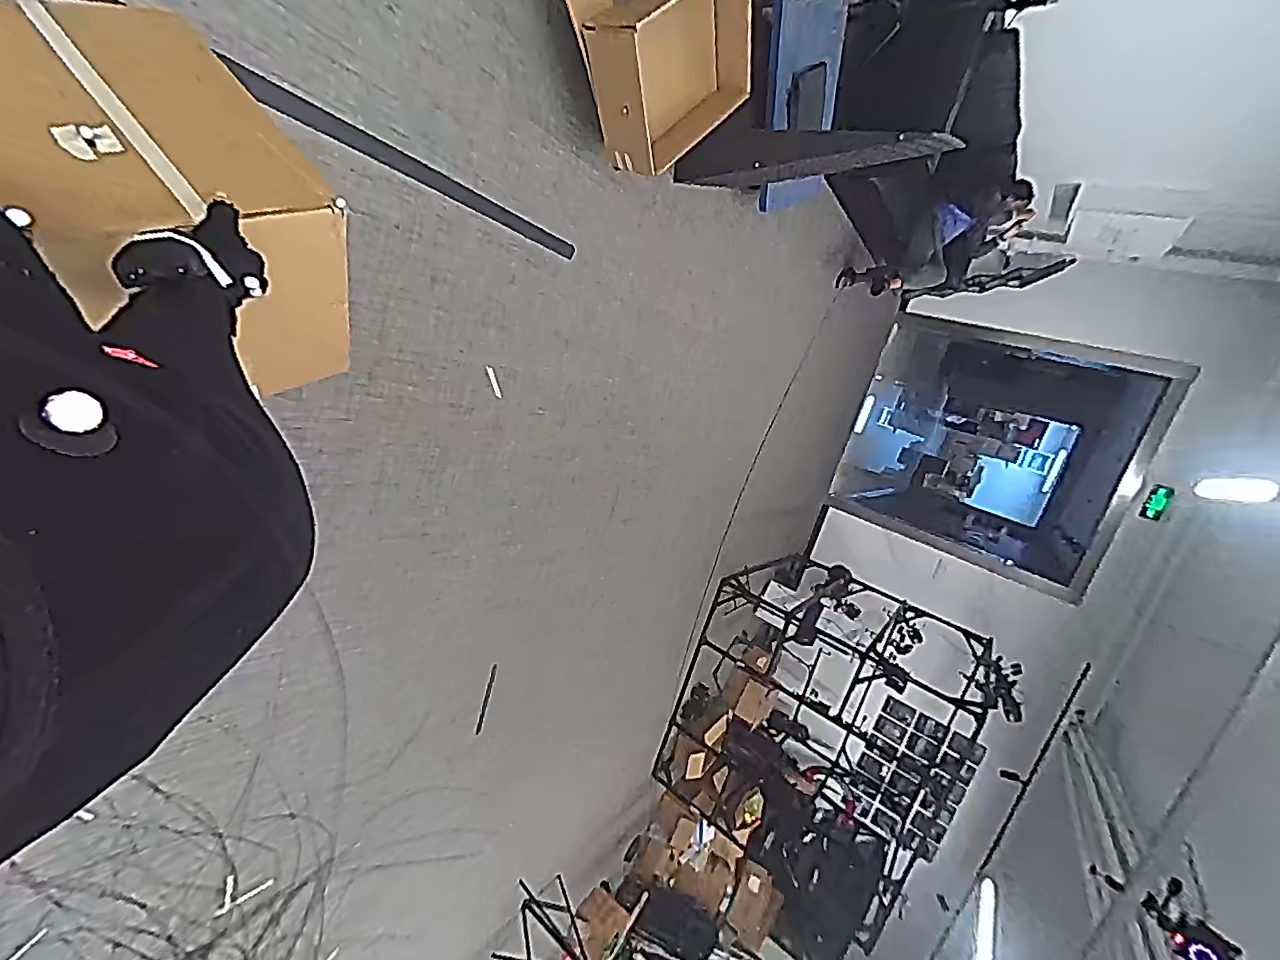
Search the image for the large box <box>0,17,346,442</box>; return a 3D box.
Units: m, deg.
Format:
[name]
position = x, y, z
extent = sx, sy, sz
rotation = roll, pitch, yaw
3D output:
[large box]
position = -0.666, -0.333, 0.742
extent = 0.320, 0.408, 0.320
rotation = -35, 169, -38
